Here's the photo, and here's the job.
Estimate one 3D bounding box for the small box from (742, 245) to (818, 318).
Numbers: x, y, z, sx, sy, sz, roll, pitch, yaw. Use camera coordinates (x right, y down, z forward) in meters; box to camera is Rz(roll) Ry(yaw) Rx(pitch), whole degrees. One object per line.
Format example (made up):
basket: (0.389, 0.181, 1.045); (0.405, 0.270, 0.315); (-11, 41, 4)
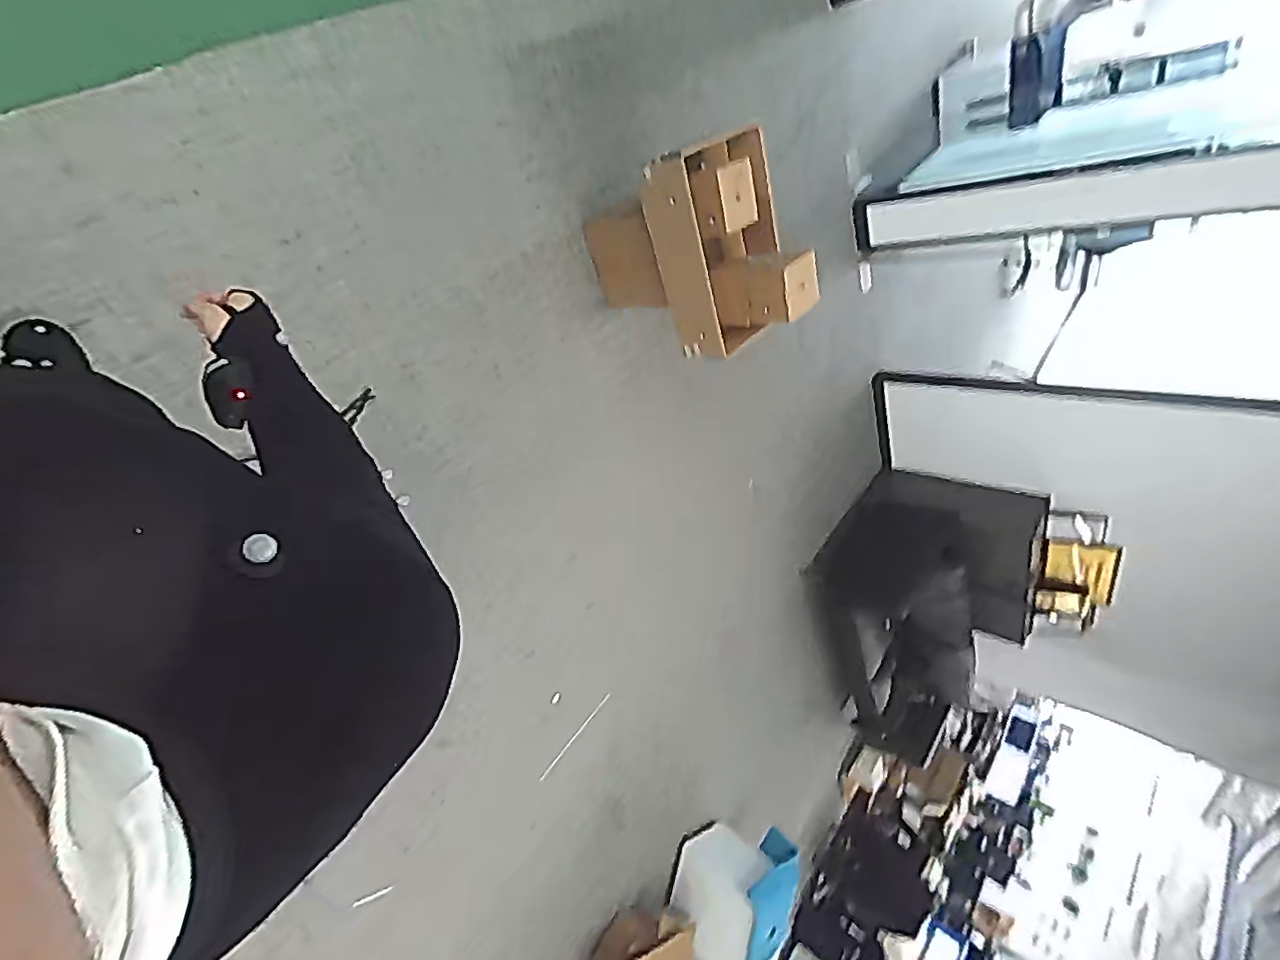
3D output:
small box: (0.433, -0.618, 1.693); (0.179, 0.176, 0.168); (-40, 128, -30)
